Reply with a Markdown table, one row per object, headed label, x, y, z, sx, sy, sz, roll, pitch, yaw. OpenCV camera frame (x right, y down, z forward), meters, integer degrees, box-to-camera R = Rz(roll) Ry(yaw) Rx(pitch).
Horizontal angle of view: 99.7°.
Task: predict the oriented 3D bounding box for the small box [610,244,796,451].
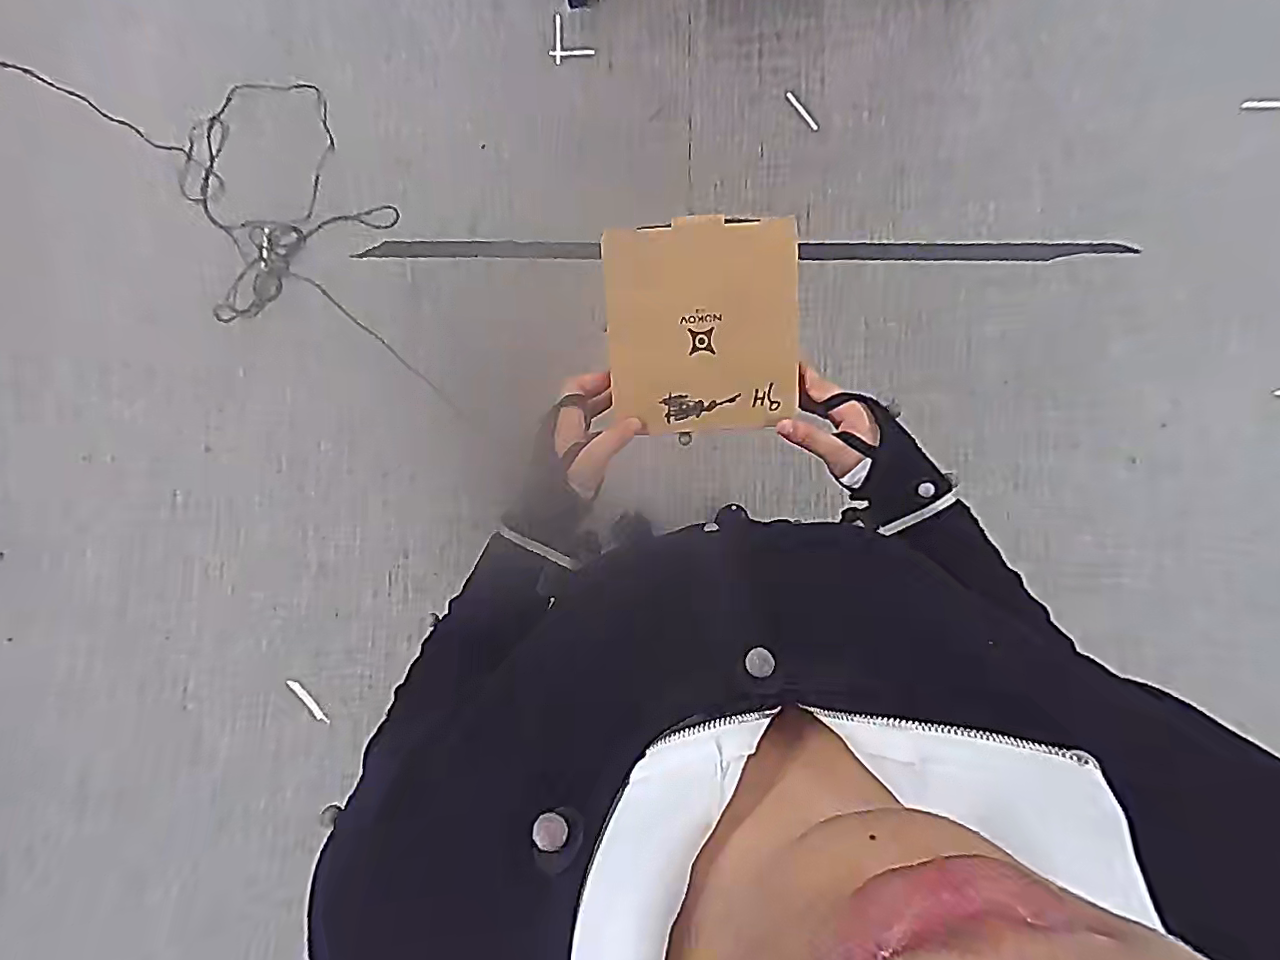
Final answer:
| label | x | y | z | sx | sy | sz | roll | pitch | yaw |
| --- | --- | --- | --- | --- | --- | --- | --- | --- | --- |
| small box | 0.058 | -0.130 | 0.563 | 0.168 | 0.176 | 0.179 | -4 | 101 | 1 |

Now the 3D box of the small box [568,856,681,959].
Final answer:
| label | x | y | z | sx | sy | sz | roll | pitch | yaw |
| --- | --- | --- | --- | --- | --- | --- | --- | --- | --- |
| small box | -0.020 | 0.782 | 0.930 | 0.179 | 0.176 | 0.168 | -1 | 86 | 4 |
